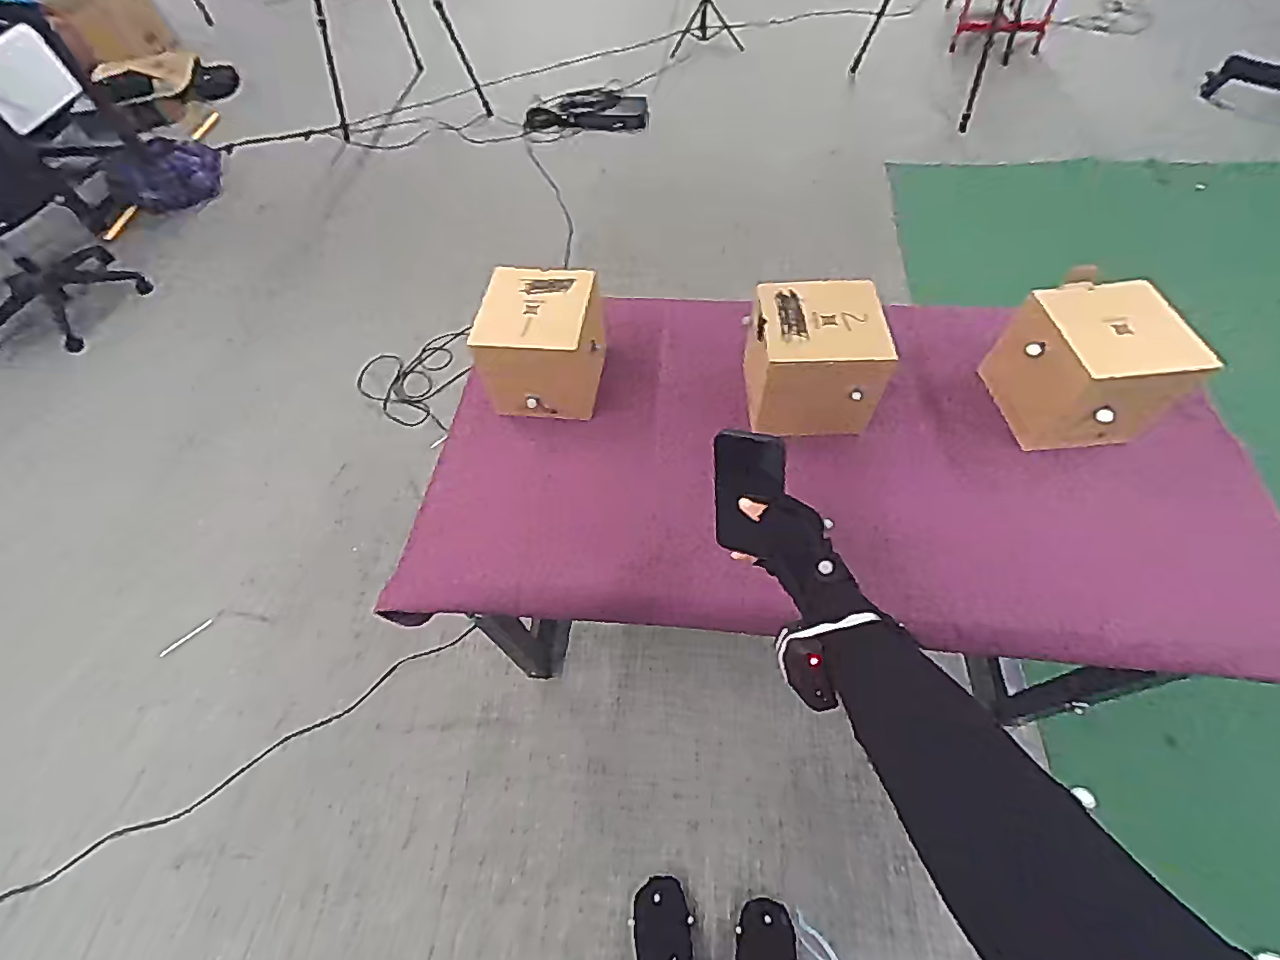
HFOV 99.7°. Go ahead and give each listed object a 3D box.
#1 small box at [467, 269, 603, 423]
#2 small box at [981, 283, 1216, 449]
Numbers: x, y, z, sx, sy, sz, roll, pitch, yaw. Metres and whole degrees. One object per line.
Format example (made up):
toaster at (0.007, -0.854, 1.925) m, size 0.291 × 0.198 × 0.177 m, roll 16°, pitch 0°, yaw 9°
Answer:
small box at (-0.157, -0.217, 0.884) m, size 0.168 × 0.176 × 0.179 m, roll 4°, pitch 60°, yaw 6°
small box at (0.651, -0.159, 0.798) m, size 0.168 × 0.176 × 0.179 m, roll -6°, pitch 57°, yaw 1°
